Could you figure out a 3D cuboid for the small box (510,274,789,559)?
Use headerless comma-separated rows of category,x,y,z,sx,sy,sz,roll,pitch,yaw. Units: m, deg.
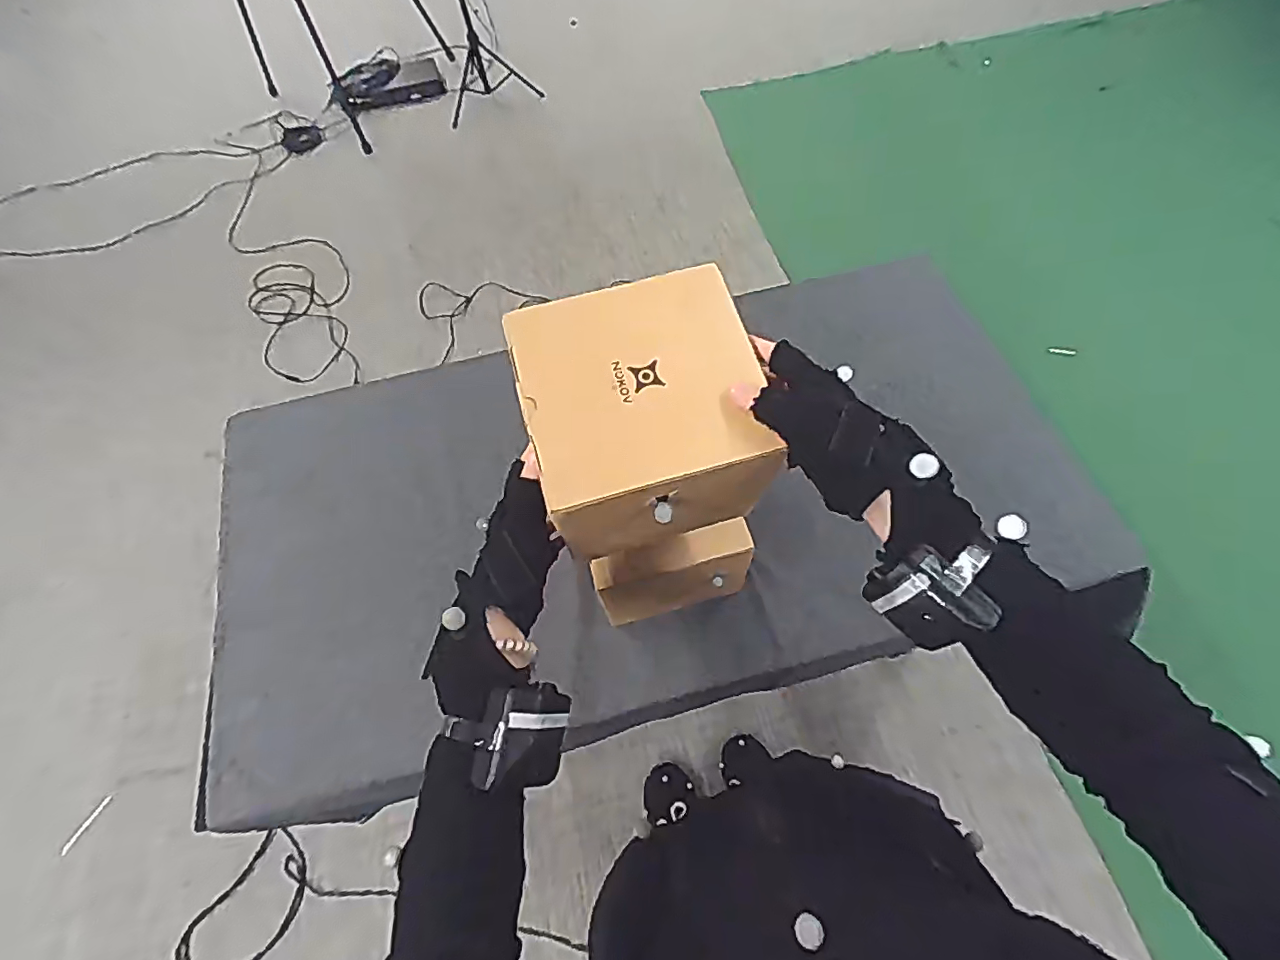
small box,0.003,-0.043,0.474,0.179,0.176,0.168,-16,70,-4
